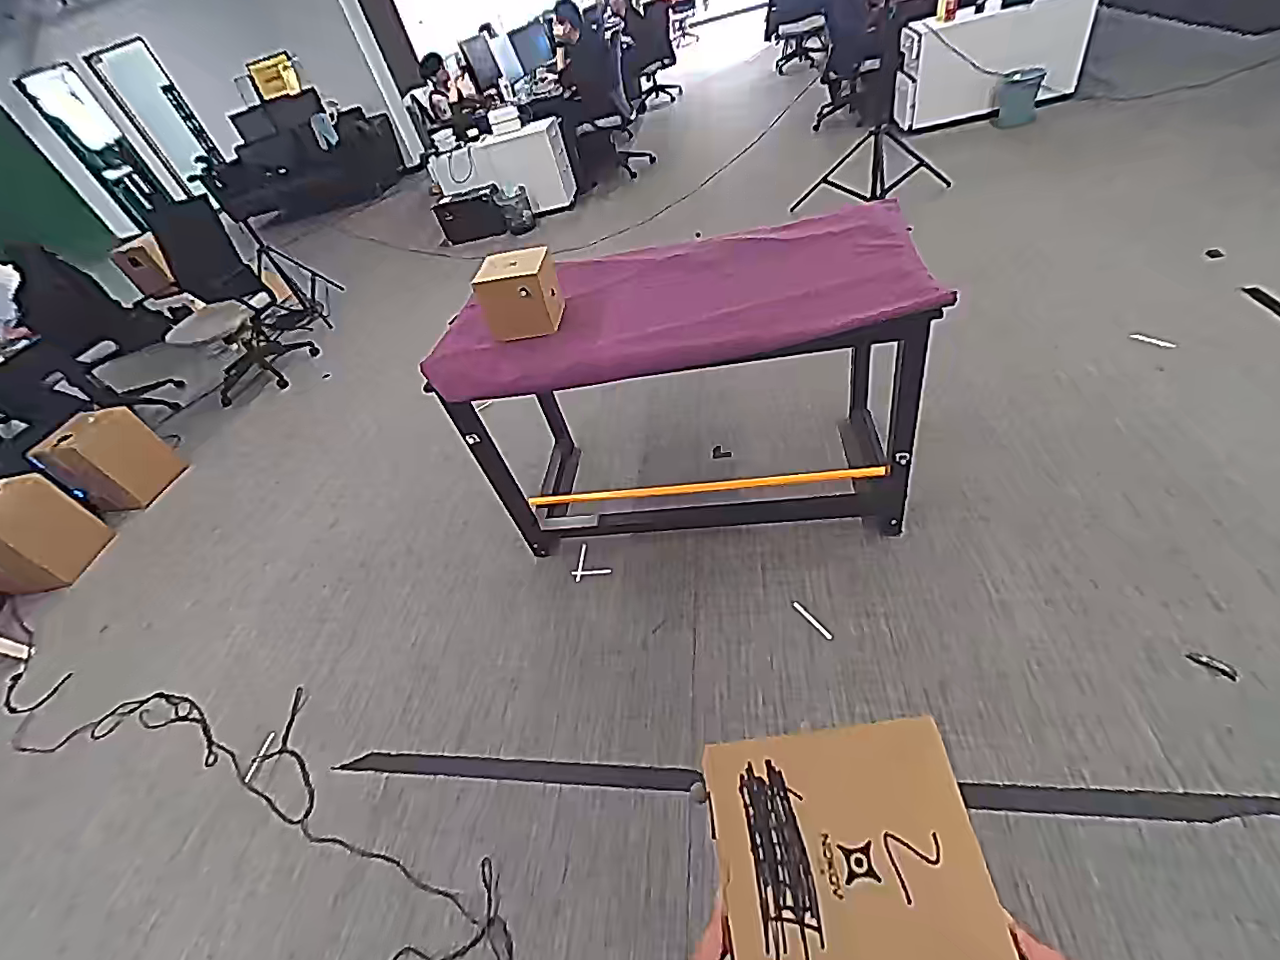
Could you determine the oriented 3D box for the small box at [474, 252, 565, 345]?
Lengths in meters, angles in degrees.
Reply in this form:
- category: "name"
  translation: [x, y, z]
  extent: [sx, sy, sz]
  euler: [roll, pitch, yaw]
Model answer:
- category: "small box"
  translation: [-0.310, -0.480, 1.440]
  extent: [0.179, 0.176, 0.168]
  euler: [-5, 43, 10]
